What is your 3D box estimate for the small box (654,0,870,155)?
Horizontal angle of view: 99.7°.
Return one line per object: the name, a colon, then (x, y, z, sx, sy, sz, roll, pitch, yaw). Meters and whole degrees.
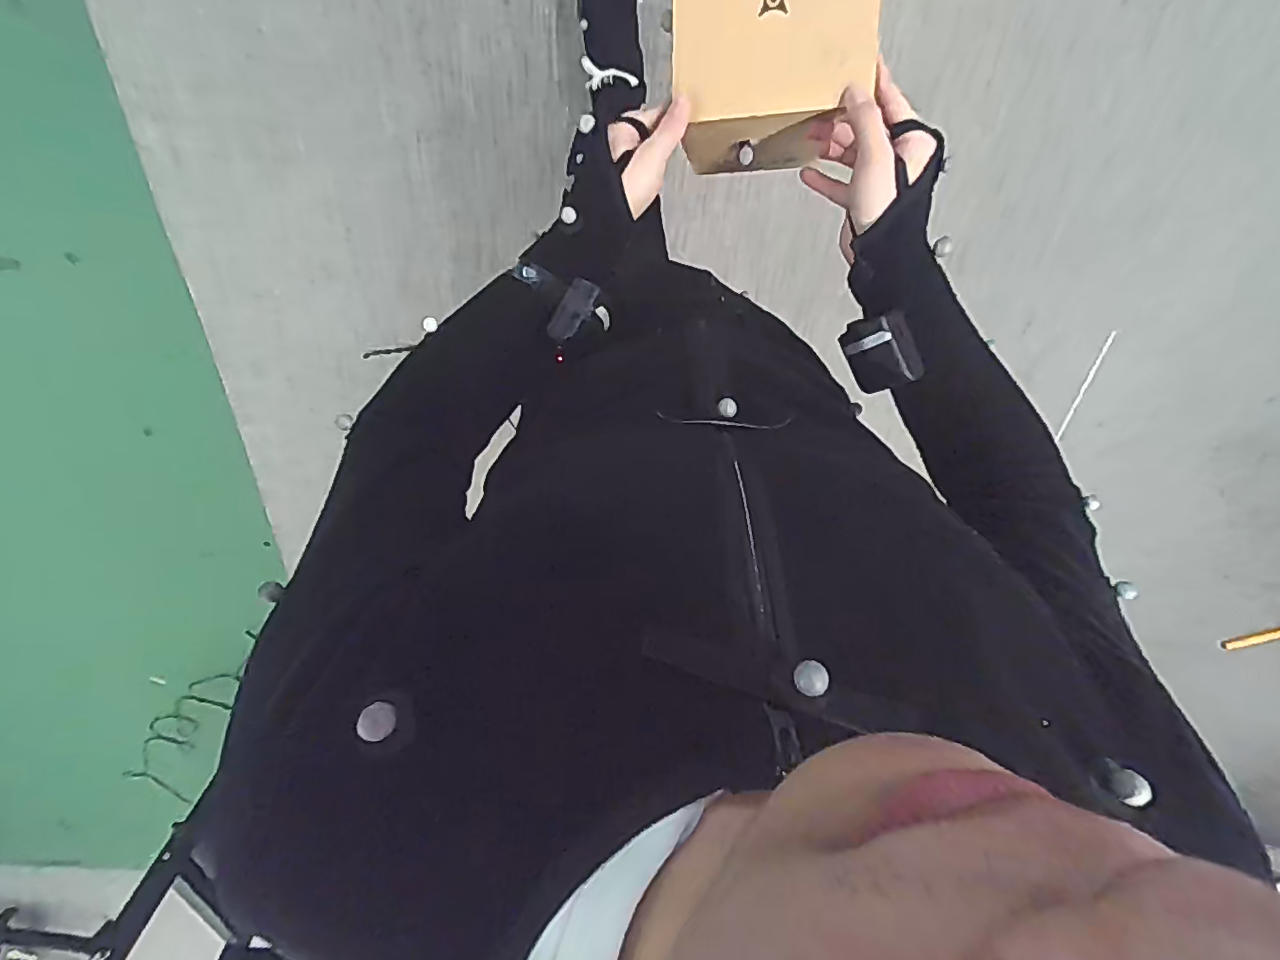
small box: (0.111, -0.408, 0.483, 0.168, 0.176, 0.179, 4, 105, 12)
